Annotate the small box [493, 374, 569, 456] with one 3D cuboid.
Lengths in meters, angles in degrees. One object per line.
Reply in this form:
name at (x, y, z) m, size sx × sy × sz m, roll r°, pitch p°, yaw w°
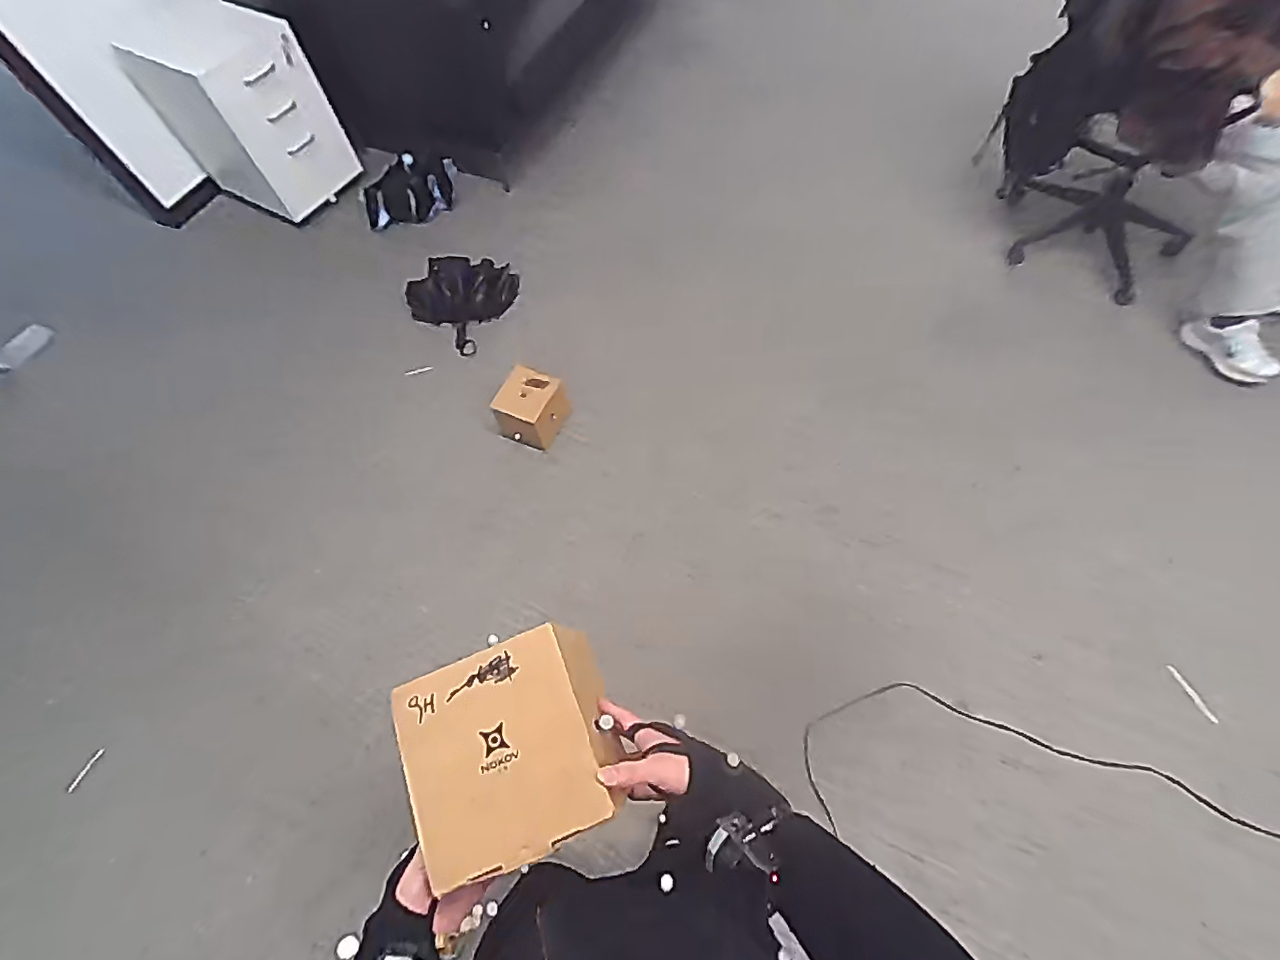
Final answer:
small box at (-0.344, -0.208, 1.754) m, size 0.168 × 0.176 × 0.179 m, roll 20°, pitch 67°, yaw 15°
